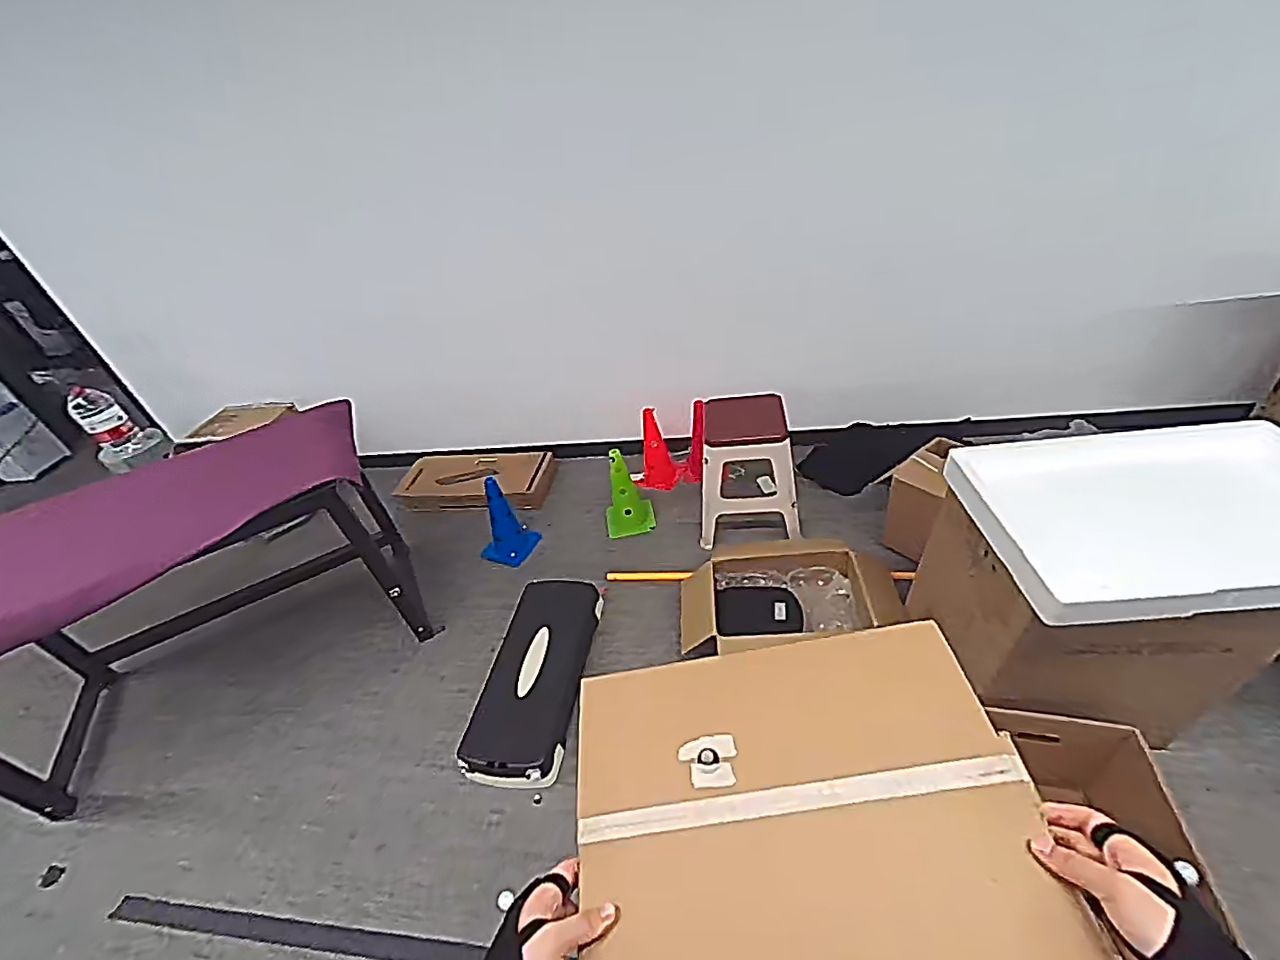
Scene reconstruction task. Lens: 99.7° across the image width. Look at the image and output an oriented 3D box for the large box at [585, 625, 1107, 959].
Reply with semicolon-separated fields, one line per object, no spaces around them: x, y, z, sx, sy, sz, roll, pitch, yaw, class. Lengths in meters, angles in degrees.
0.176;0.412;0.608;0.408;0.320;0.320;-13;41;7;large box
